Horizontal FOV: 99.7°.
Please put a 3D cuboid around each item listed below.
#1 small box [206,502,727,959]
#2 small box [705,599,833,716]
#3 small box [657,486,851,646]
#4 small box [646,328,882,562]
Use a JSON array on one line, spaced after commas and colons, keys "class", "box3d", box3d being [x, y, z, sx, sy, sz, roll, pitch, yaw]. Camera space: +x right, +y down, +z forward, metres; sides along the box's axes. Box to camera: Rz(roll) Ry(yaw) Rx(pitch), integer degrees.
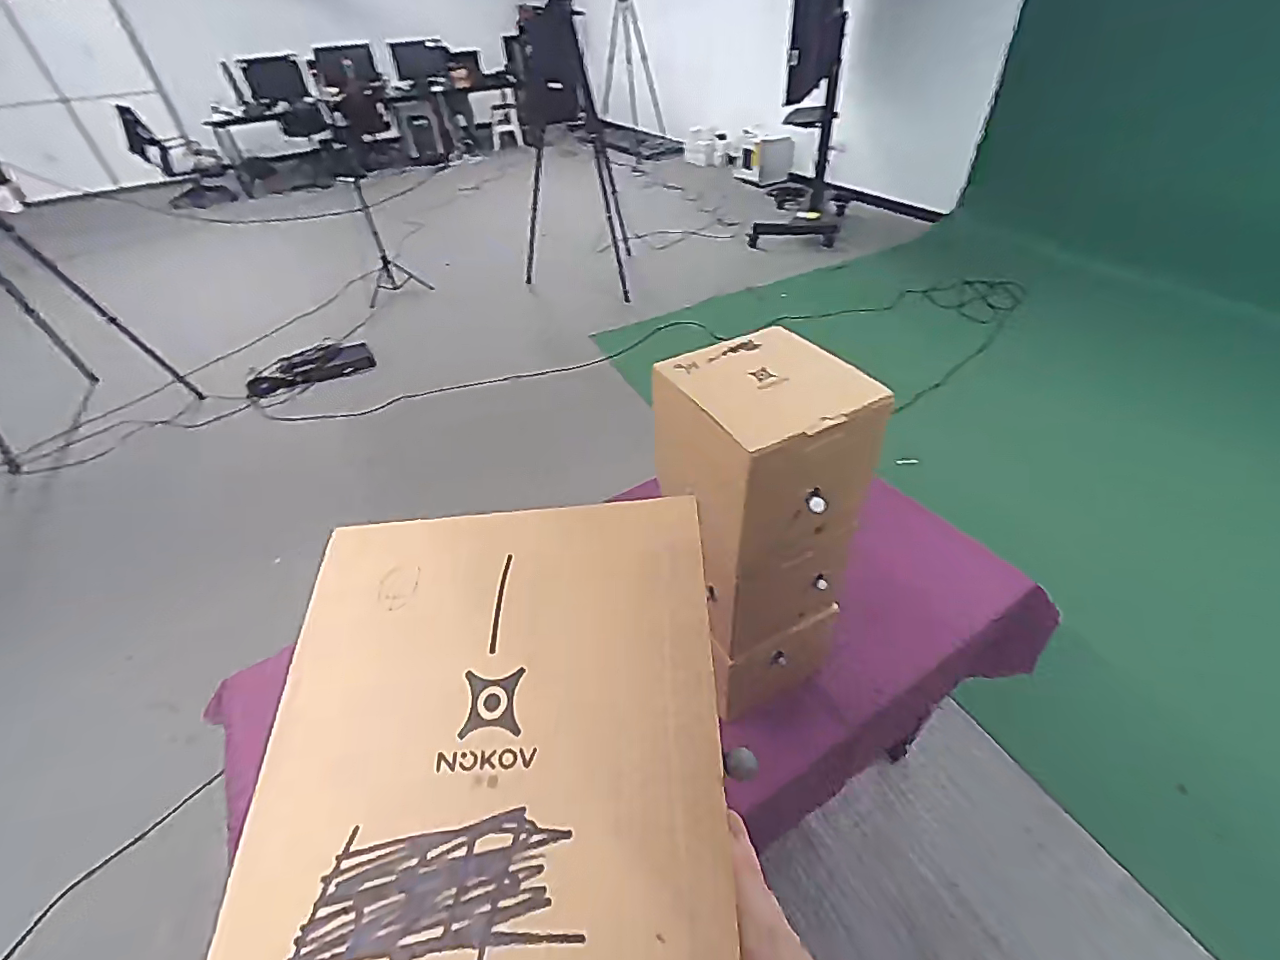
[{"class": "small box", "box3d": [-0.048, 0.131, 0.267, 0.168, 0.176, 0.179, -5, 58, 7]}, {"class": "small box", "box3d": [0.154, 0.212, 0.798, 0.179, 0.176, 0.168, -21, 44, -16]}, {"class": "small box", "box3d": [0.137, 0.087, 0.696, 0.168, 0.176, 0.179, -21, 43, -16]}, {"class": "small box", "box3d": [0.121, -0.034, 0.586, 0.168, 0.176, 0.179, -21, 45, -18]}]
